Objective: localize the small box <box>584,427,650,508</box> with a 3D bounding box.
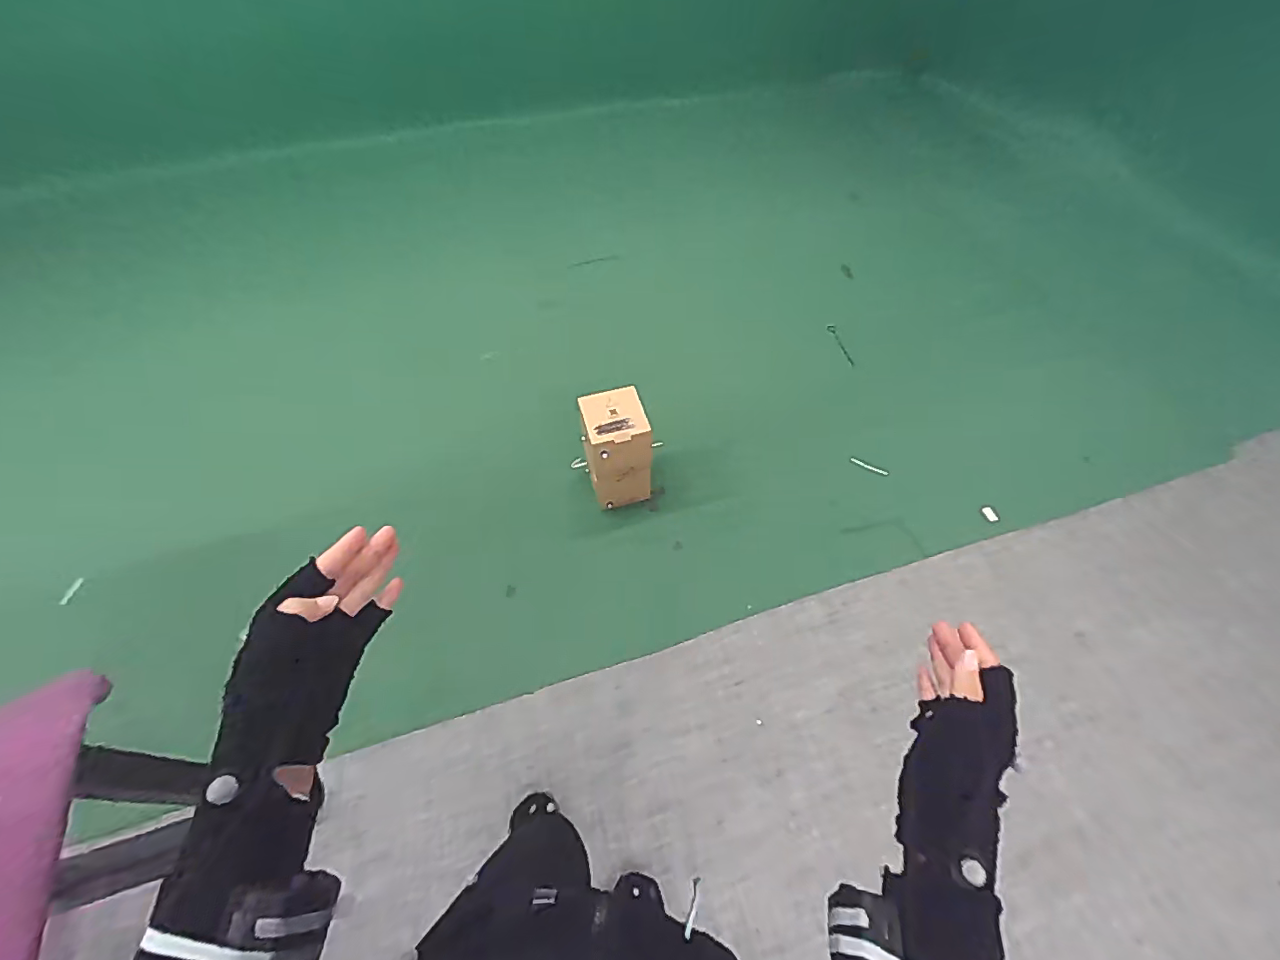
[{"bbox_3d":[-0.067,-0.032,1.663,0.168,0.176,0.179,-13,56,-9],"label":"small box"}]
